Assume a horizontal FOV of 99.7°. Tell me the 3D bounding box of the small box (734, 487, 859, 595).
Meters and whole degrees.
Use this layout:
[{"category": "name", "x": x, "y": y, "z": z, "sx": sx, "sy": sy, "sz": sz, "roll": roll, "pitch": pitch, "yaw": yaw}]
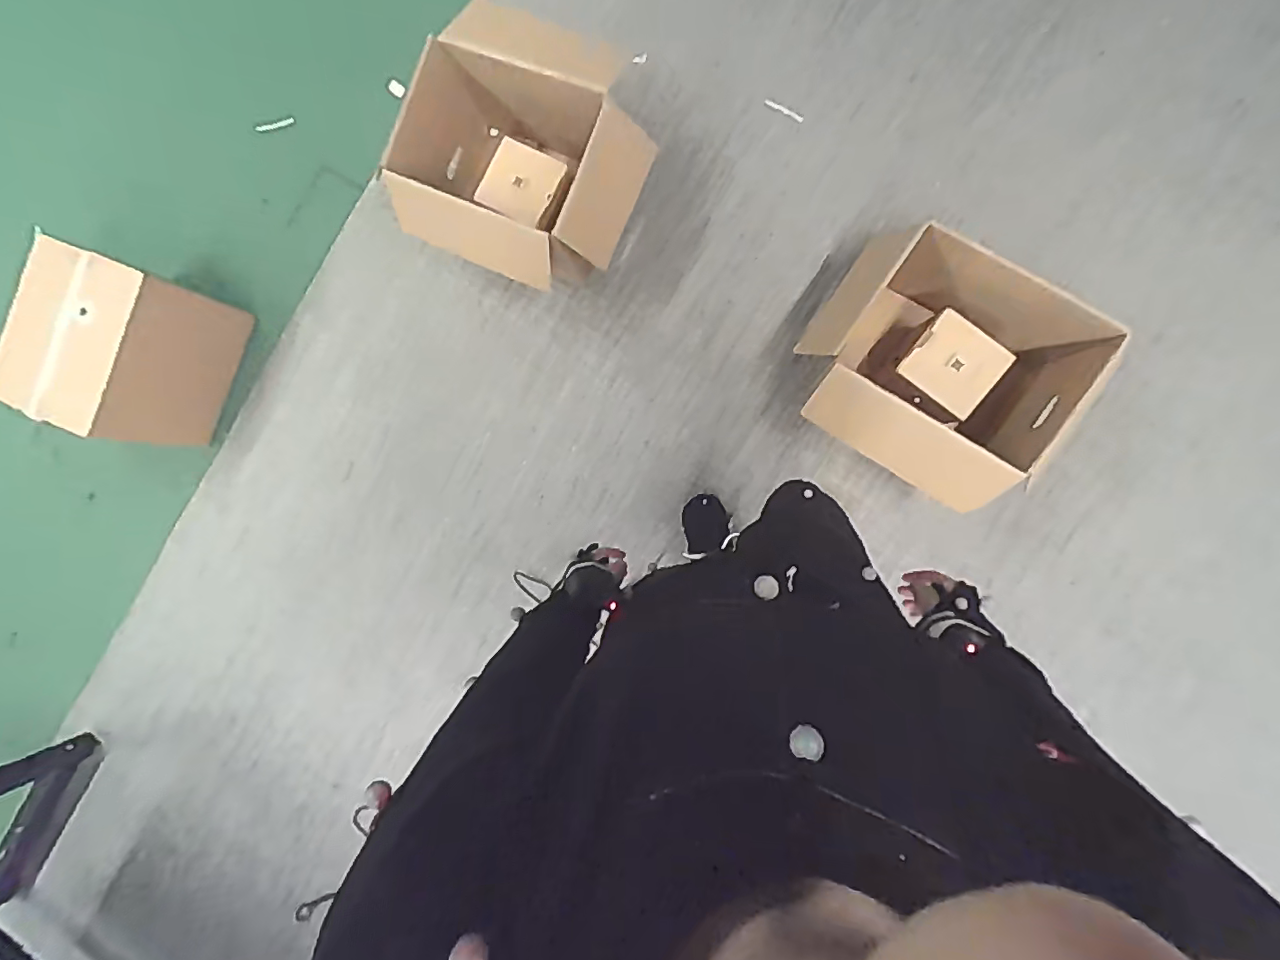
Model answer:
[{"category": "small box", "x": 0.343, "y": 0.139, "z": 1.197, "sx": 0.176, "sy": 0.168, "sz": 0.179, "roll": -39, "pitch": 73, "yaw": 34}]
